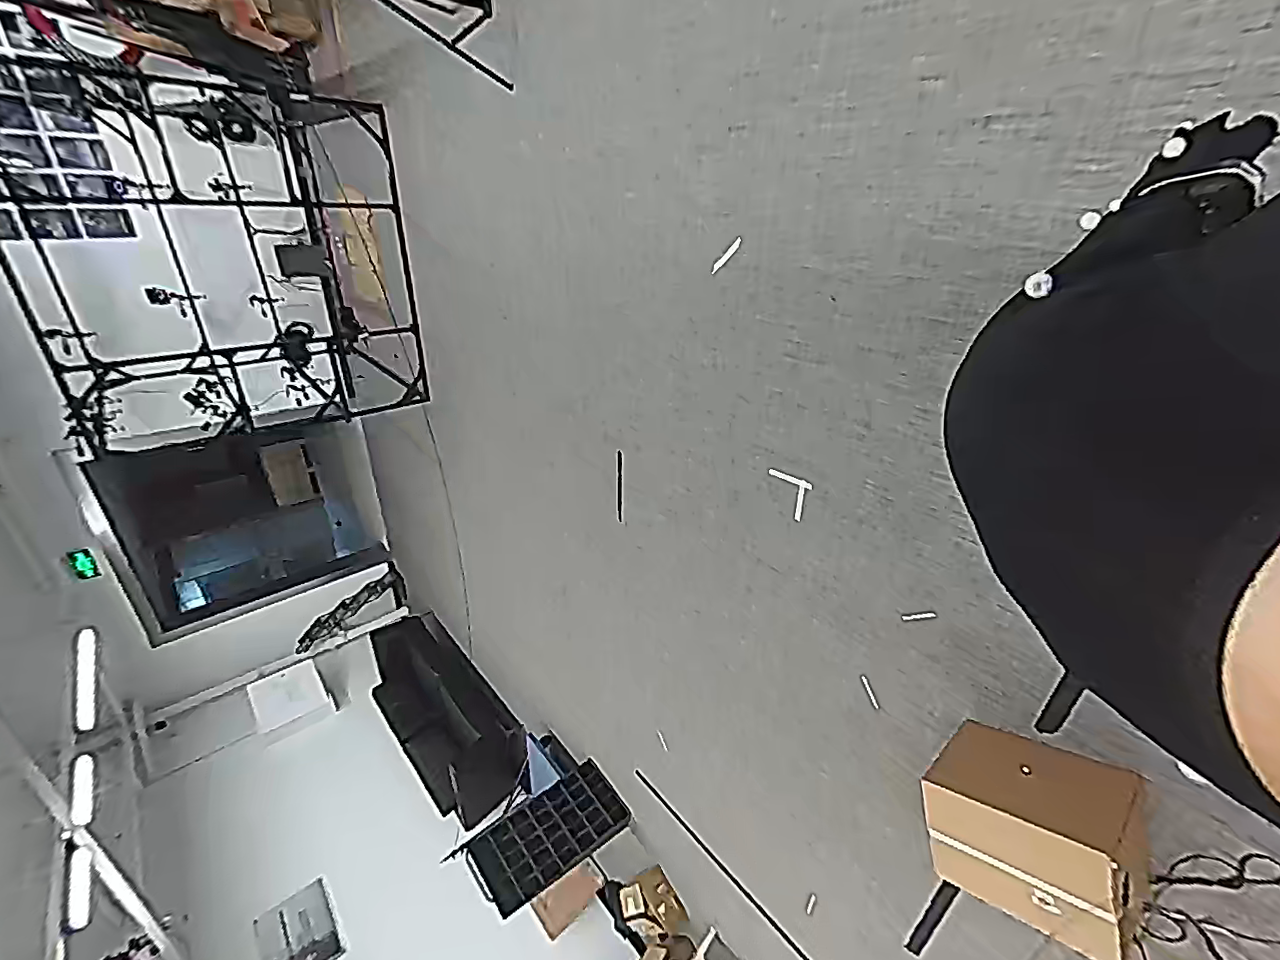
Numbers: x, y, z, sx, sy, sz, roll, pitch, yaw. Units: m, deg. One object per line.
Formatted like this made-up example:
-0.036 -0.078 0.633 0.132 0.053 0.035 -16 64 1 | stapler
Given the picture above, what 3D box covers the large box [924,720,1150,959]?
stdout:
1.034 0.899 1.419 0.408 0.320 0.320 -2 104 51 | large box
